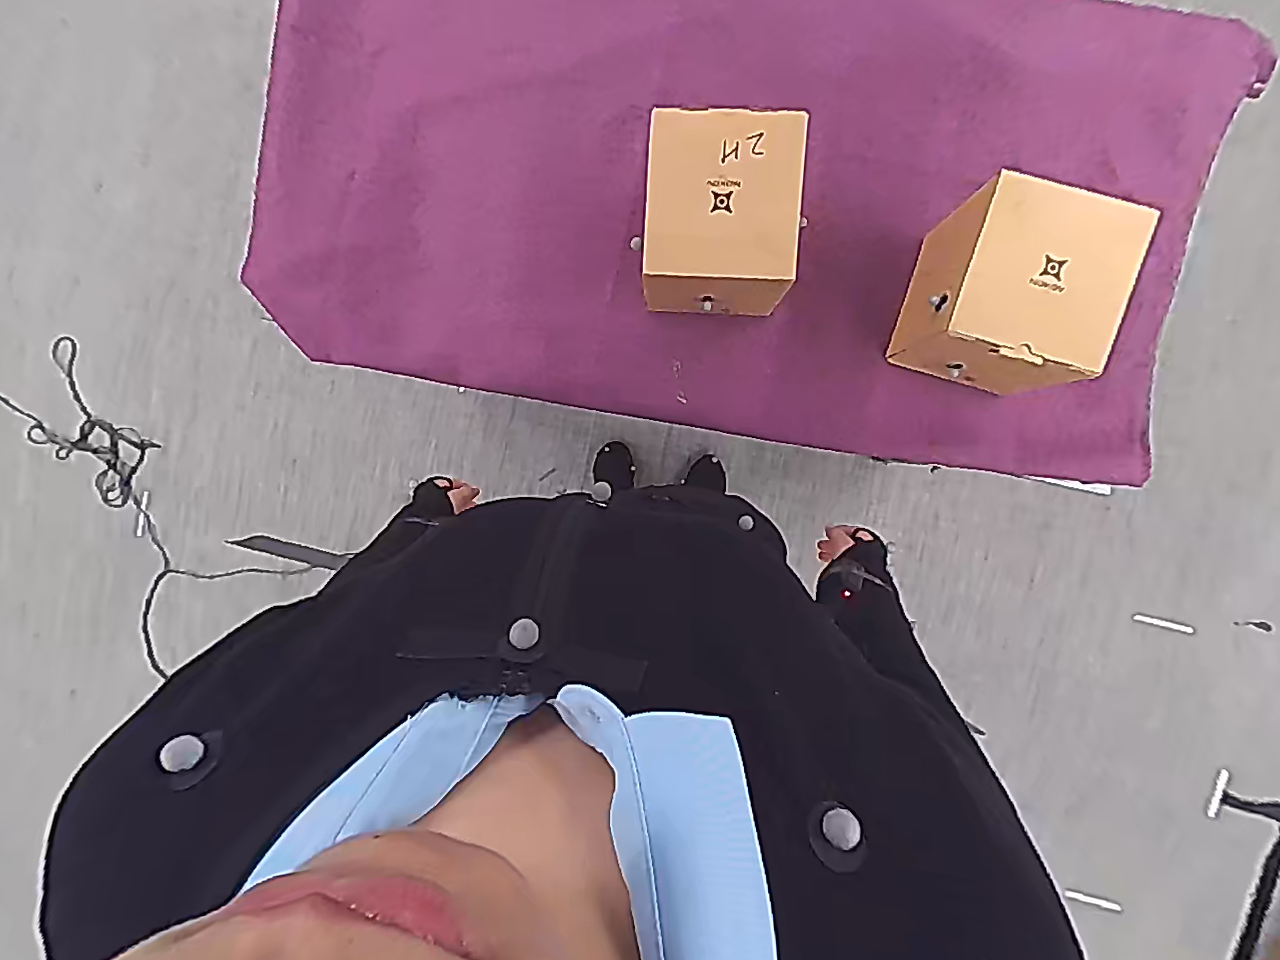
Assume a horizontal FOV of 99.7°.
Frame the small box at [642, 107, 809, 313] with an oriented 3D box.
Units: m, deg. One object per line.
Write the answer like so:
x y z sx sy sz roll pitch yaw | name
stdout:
0.094 -0.308 0.651 0.168 0.176 0.179 4 94 3 | small box

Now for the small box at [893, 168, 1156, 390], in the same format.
0.428 -0.219 0.636 0.168 0.176 0.179 17 94 3 | small box
